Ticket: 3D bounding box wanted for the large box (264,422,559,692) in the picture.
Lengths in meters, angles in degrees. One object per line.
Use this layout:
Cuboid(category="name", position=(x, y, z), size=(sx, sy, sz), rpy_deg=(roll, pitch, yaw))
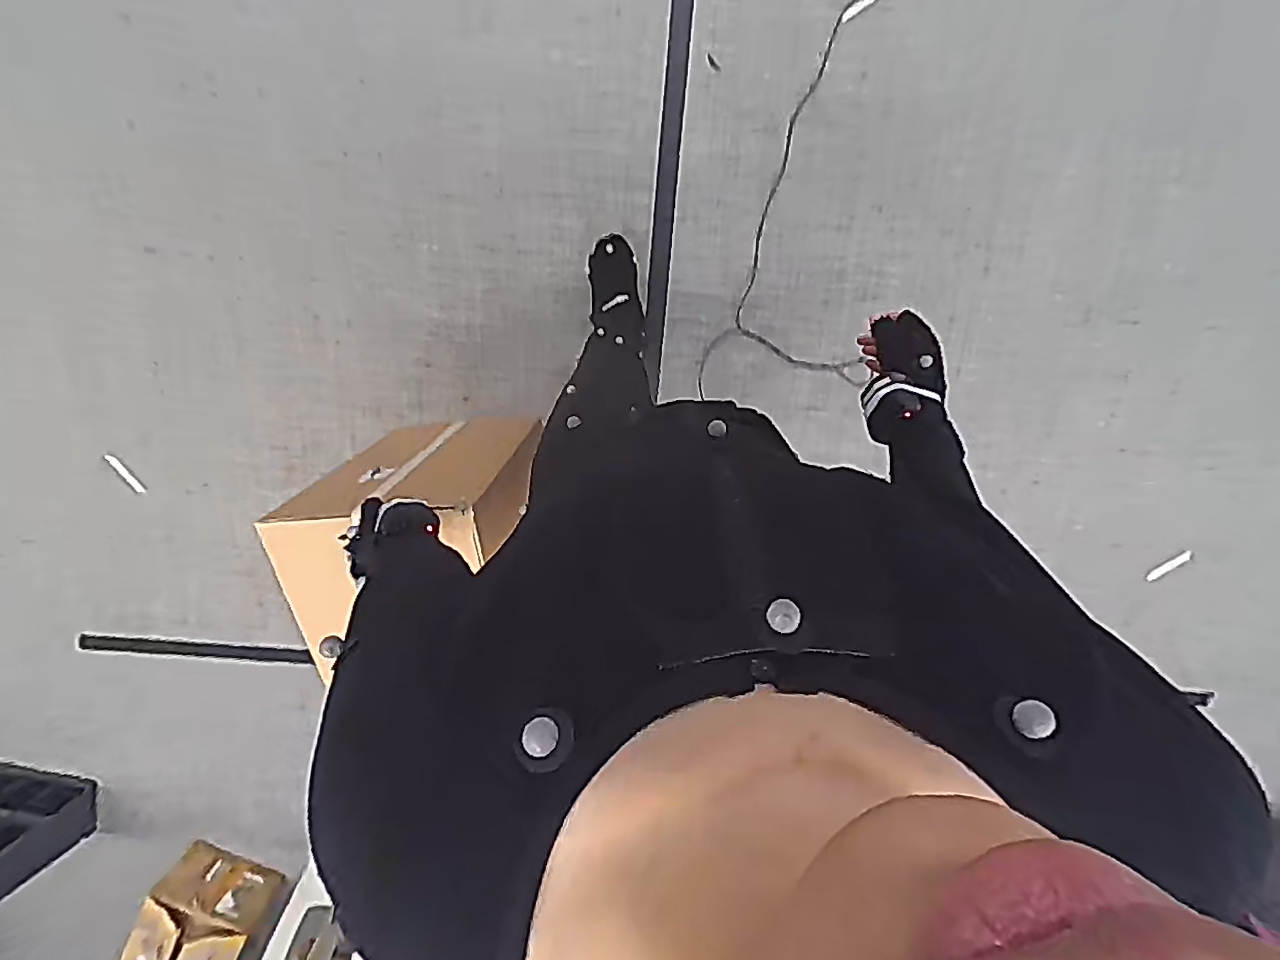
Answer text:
Cuboid(category="large box", position=(-0.348, 0.111, 0.970), size=(0.320, 0.408, 0.320), rpy_deg=(-6, 113, 6))
